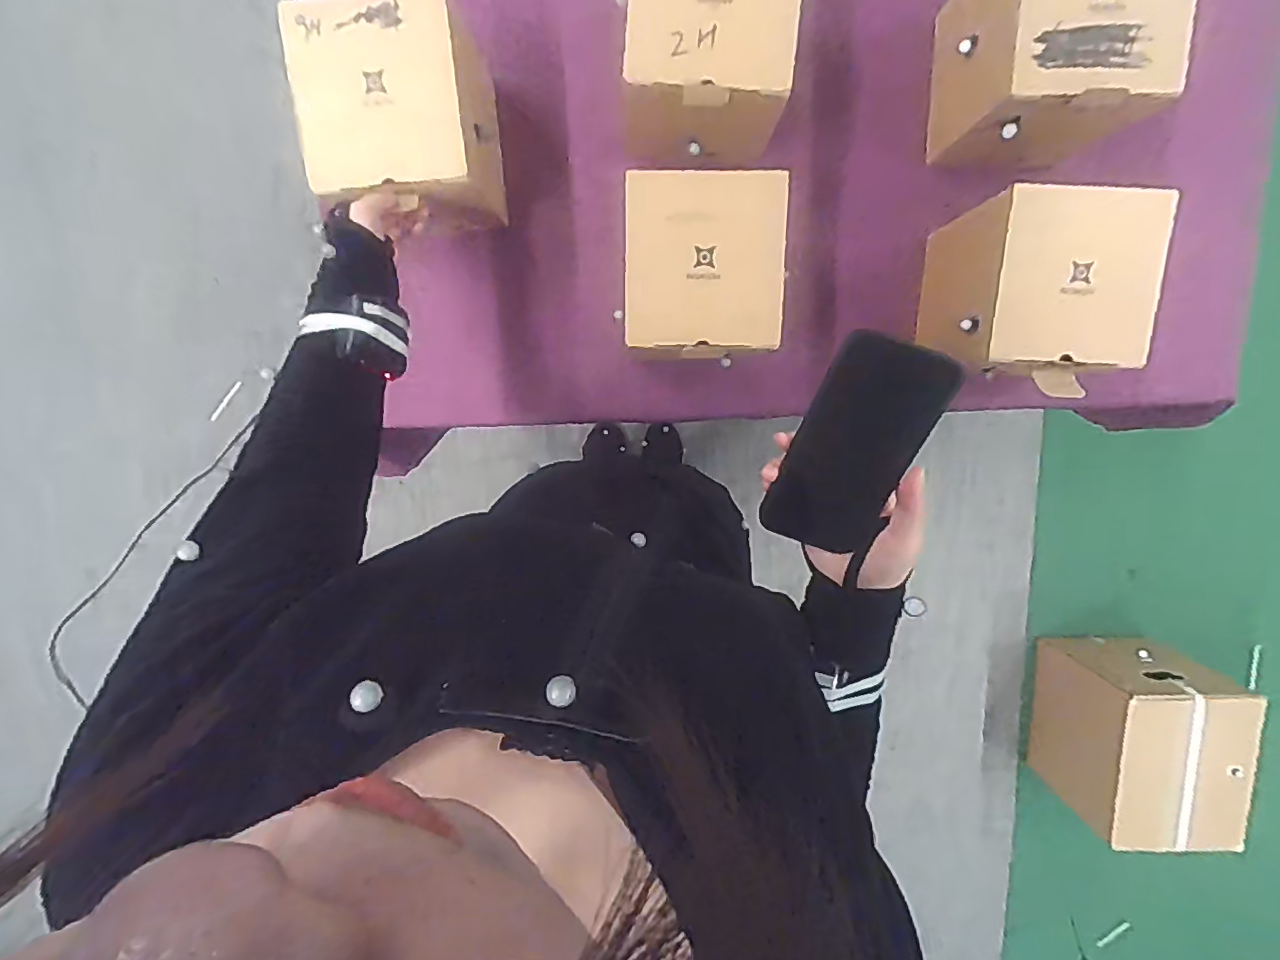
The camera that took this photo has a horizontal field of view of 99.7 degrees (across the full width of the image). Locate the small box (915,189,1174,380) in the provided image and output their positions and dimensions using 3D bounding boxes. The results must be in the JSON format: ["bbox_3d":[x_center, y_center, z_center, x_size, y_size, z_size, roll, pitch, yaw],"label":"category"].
[{"bbox_3d":[0.446,-0.211,0.629,0.168,0.176,0.179,3,99,1],"label":"small box"}]

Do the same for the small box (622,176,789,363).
[{"bbox_3d":[0.067,-0.231,0.634,0.168,0.176,0.179,1,99,0],"label":"small box"}]

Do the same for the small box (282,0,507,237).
[{"bbox_3d":[-0.257,-0.386,0.613,0.168,0.176,0.179,-4,100,1],"label":"small box"}]

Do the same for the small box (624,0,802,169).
[{"bbox_3d":[0.074,-0.475,0.593,0.168,0.176,0.179,5,100,1],"label":"small box"}]
